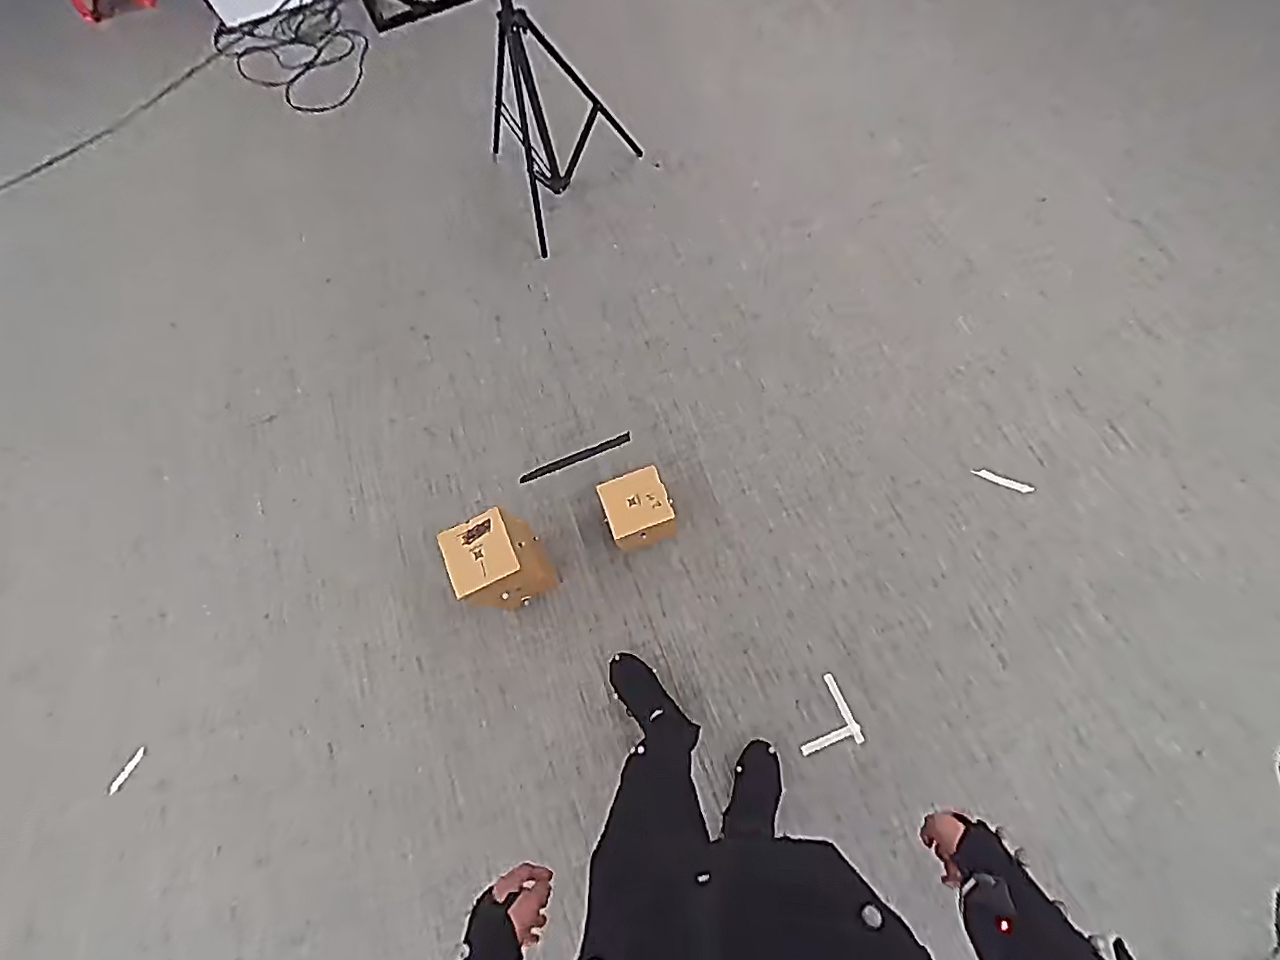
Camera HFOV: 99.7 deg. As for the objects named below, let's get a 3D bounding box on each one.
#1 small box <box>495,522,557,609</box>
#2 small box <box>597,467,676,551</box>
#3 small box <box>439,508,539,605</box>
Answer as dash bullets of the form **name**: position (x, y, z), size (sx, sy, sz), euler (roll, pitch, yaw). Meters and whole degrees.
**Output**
- **small box**: position (-0.353, 0.246, 1.523), size (0.168, 0.176, 0.179), euler (-27, 70, -3)
- **small box**: position (-0.006, 0.089, 1.539), size (0.179, 0.176, 0.168), euler (-20, 70, -2)
- **small box**: position (-0.376, 0.198, 1.368), size (0.168, 0.176, 0.179), euler (-25, 70, -2)
